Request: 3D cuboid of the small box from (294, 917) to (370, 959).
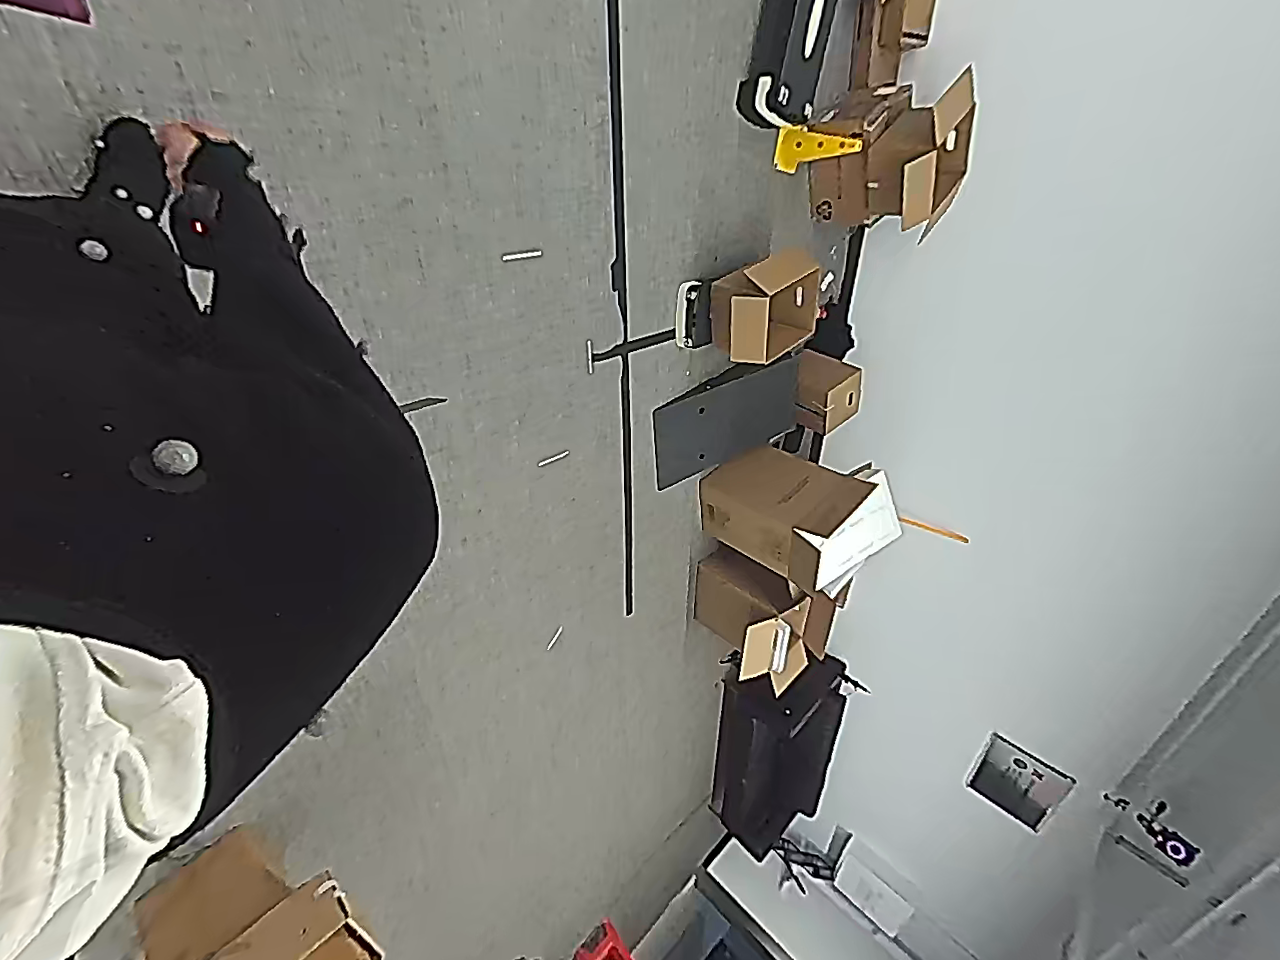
[{"bbox_3d":[-0.985,1.567,1.730,0.179,0.176,0.168,-33,135,-34],"label":"small box"}]
